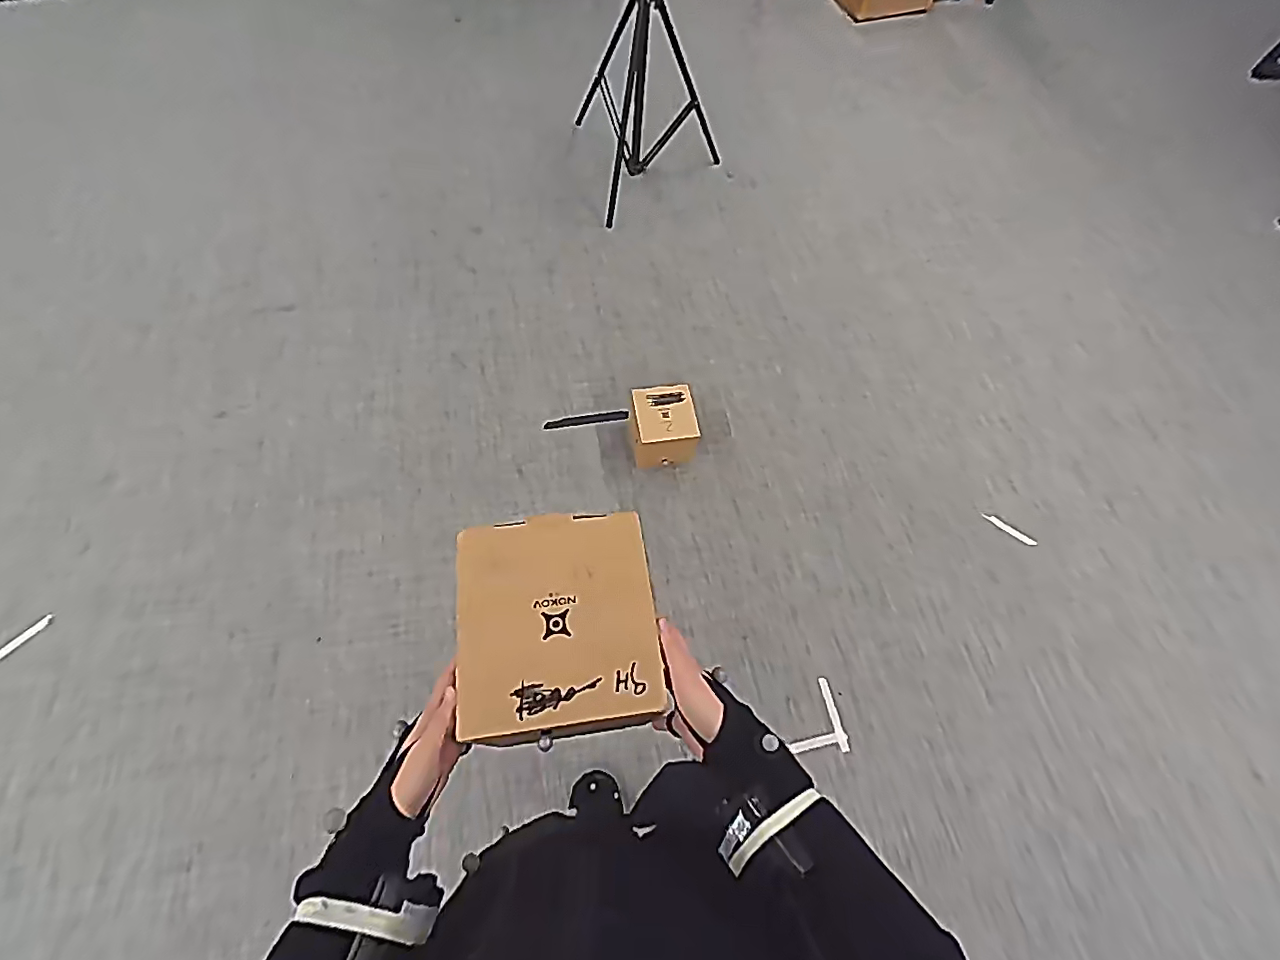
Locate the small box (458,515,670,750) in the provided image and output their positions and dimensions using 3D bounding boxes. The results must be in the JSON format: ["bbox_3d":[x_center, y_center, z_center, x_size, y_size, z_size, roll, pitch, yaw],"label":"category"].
[{"bbox_3d":[-0.074,0.152,0.523,0.168,0.176,0.179,-6,63,-7],"label":"small box"}]
